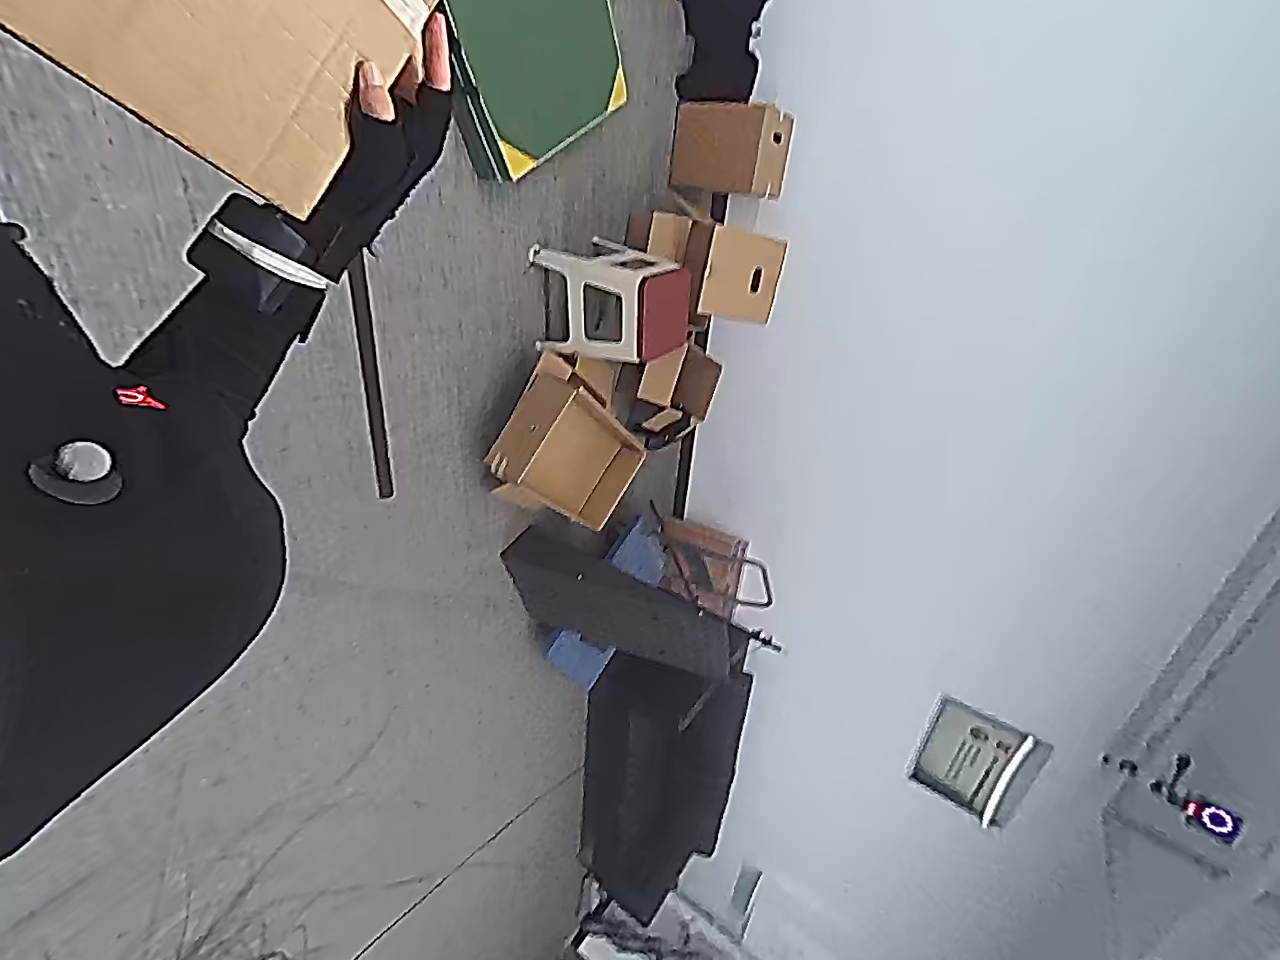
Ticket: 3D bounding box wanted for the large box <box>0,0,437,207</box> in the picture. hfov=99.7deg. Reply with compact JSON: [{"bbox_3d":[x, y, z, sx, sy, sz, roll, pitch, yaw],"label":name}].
[{"bbox_3d":[-0.354,-0.441,0.293,0.320,0.320,0.408,-56,148,4],"label":"large box"}]
